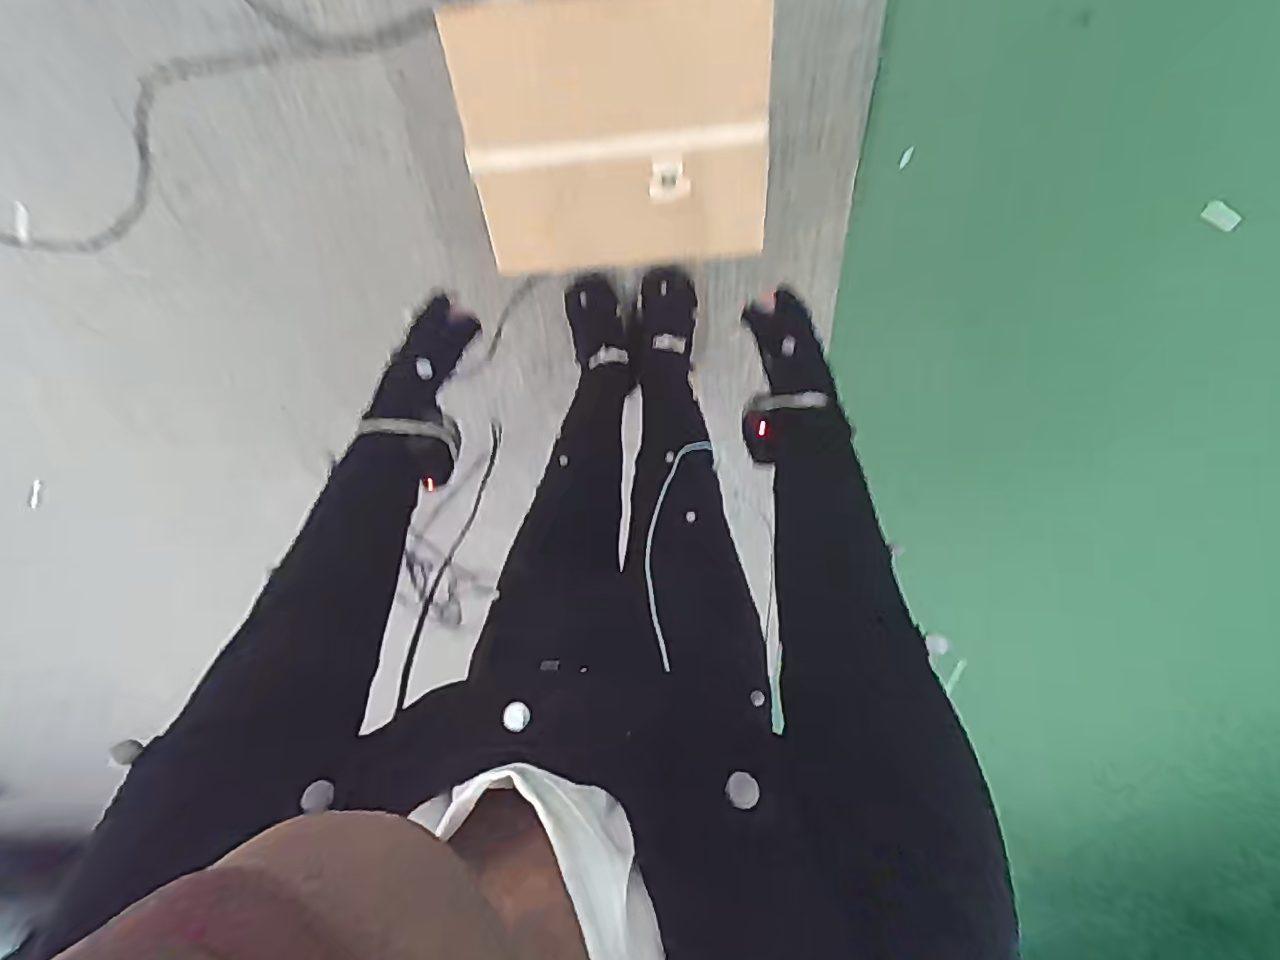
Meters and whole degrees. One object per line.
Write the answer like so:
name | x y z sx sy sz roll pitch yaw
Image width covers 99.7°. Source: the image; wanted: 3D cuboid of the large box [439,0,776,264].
large box | -0.030 -0.555 0.831 0.408 0.320 0.320 -4 130 3
